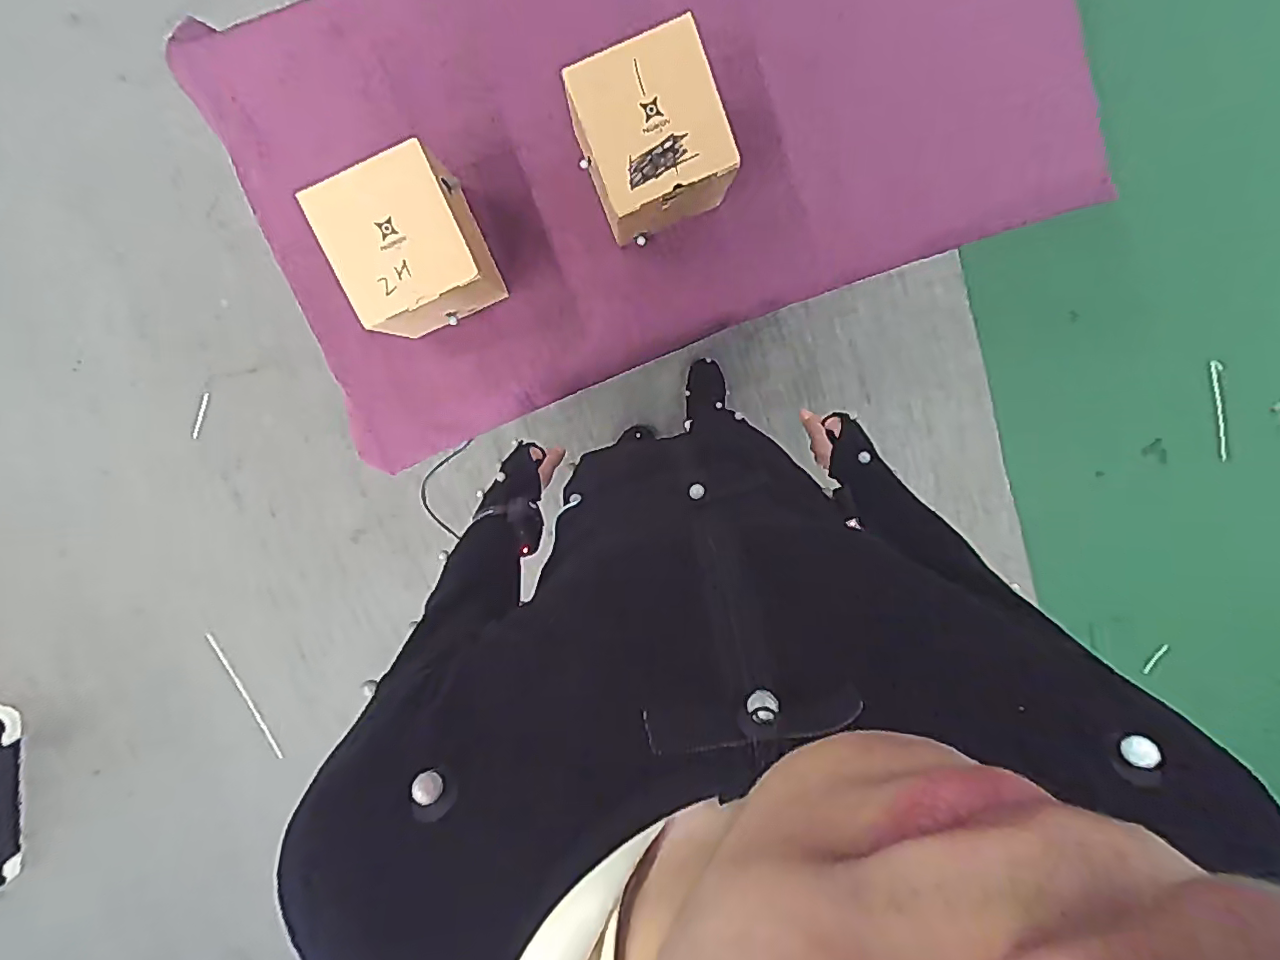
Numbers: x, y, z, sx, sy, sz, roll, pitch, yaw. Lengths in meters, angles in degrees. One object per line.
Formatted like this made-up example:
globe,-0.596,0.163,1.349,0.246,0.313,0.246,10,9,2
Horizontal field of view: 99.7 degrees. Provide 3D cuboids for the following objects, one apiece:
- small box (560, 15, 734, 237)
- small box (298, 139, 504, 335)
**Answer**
small box,0.010,-0.446,0.723,0.168,0.176,0.179,-22,100,3
small box,-0.310,-0.314,0.741,0.168,0.176,0.179,-23,101,3
